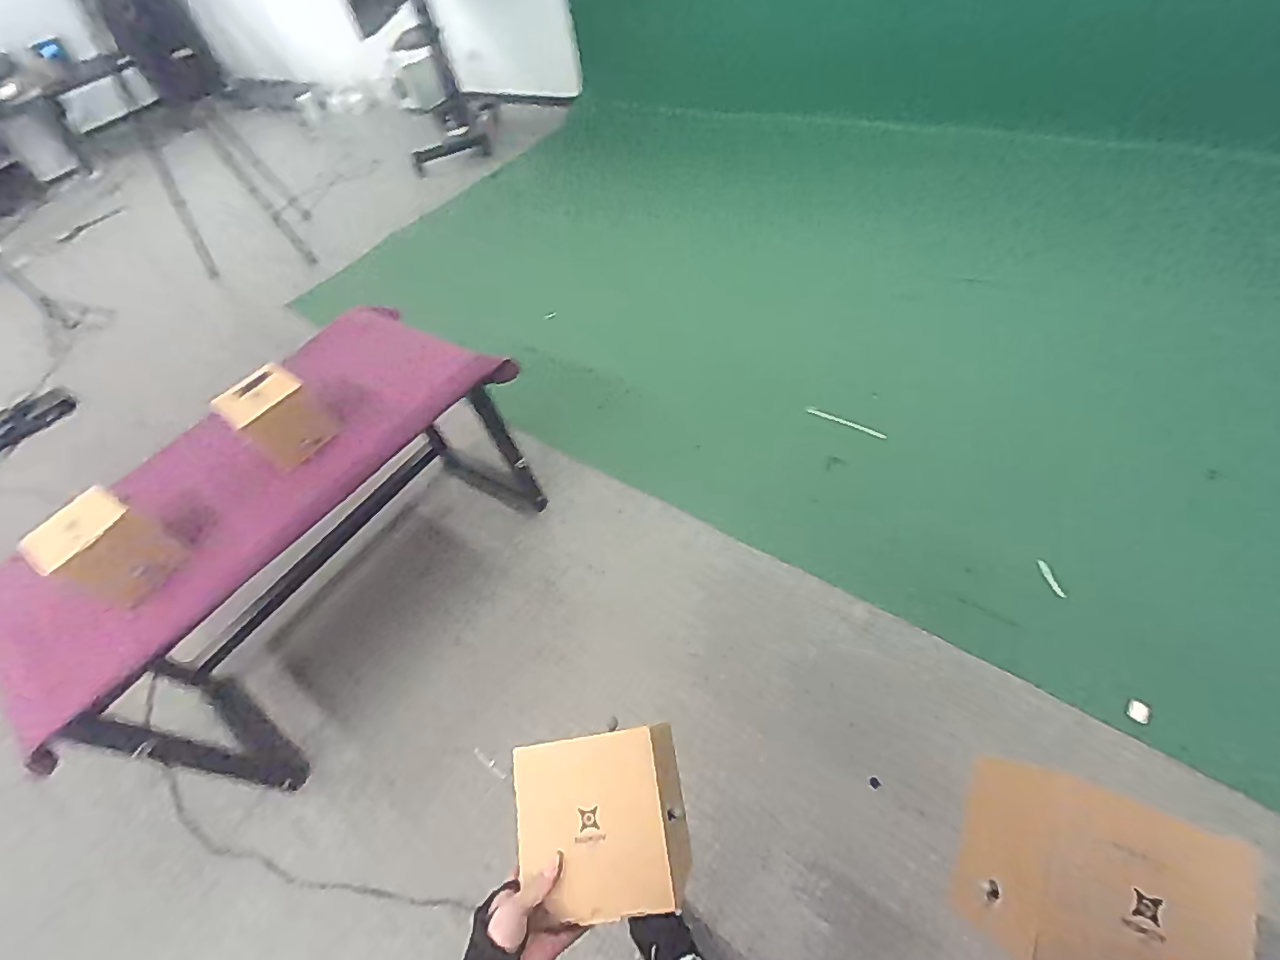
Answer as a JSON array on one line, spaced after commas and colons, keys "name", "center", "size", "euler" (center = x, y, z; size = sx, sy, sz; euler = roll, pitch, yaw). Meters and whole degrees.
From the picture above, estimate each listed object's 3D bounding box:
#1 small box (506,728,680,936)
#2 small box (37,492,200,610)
[{"name": "small box", "center": [-0.051, 0.407, 0.657], "size": [0.168, 0.176, 0.179], "euler": [-13, 67, 5]}, {"name": "small box", "center": [-1.142, 0.161, 1.195], "size": [0.179, 0.176, 0.168], "euler": [21, 60, 27]}]
